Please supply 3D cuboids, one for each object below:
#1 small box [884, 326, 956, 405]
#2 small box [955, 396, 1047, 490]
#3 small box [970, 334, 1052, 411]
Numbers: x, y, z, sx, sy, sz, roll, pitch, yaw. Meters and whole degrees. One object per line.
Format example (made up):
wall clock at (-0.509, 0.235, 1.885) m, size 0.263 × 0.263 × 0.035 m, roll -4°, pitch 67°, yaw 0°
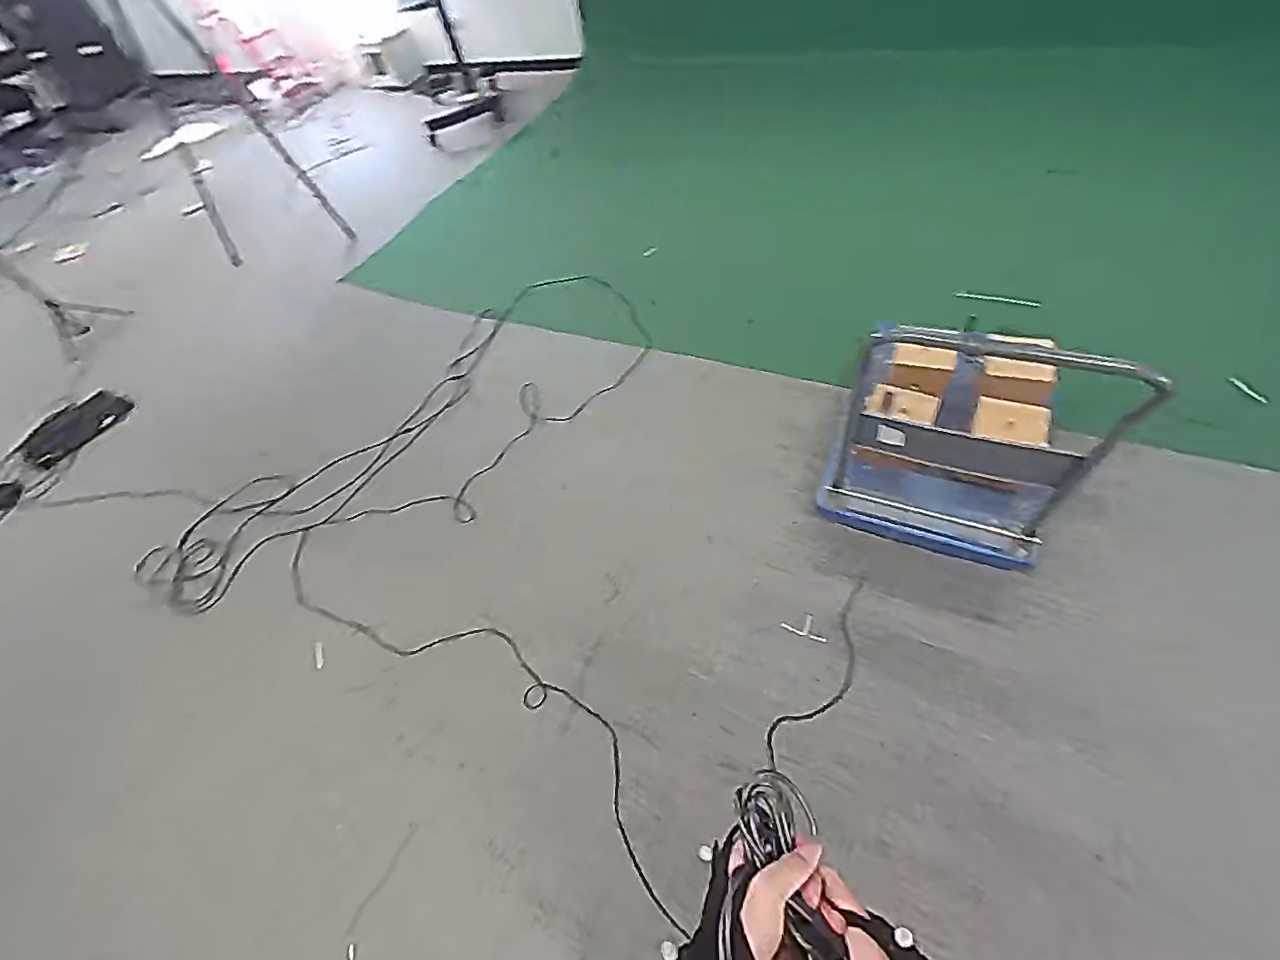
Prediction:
small box at (0.888, -0.363, 1.727) m, size 0.168 × 0.176 × 0.179 m, roll 13°, pitch 59°, yaw 20°
small box at (1.006, -0.103, 1.515) m, size 0.168 × 0.176 × 0.179 m, roll 17°, pitch 61°, yaw 23°
small box at (1.119, -0.314, 1.640) m, size 0.168 × 0.176 × 0.179 m, roll 12°, pitch 60°, yaw 21°
